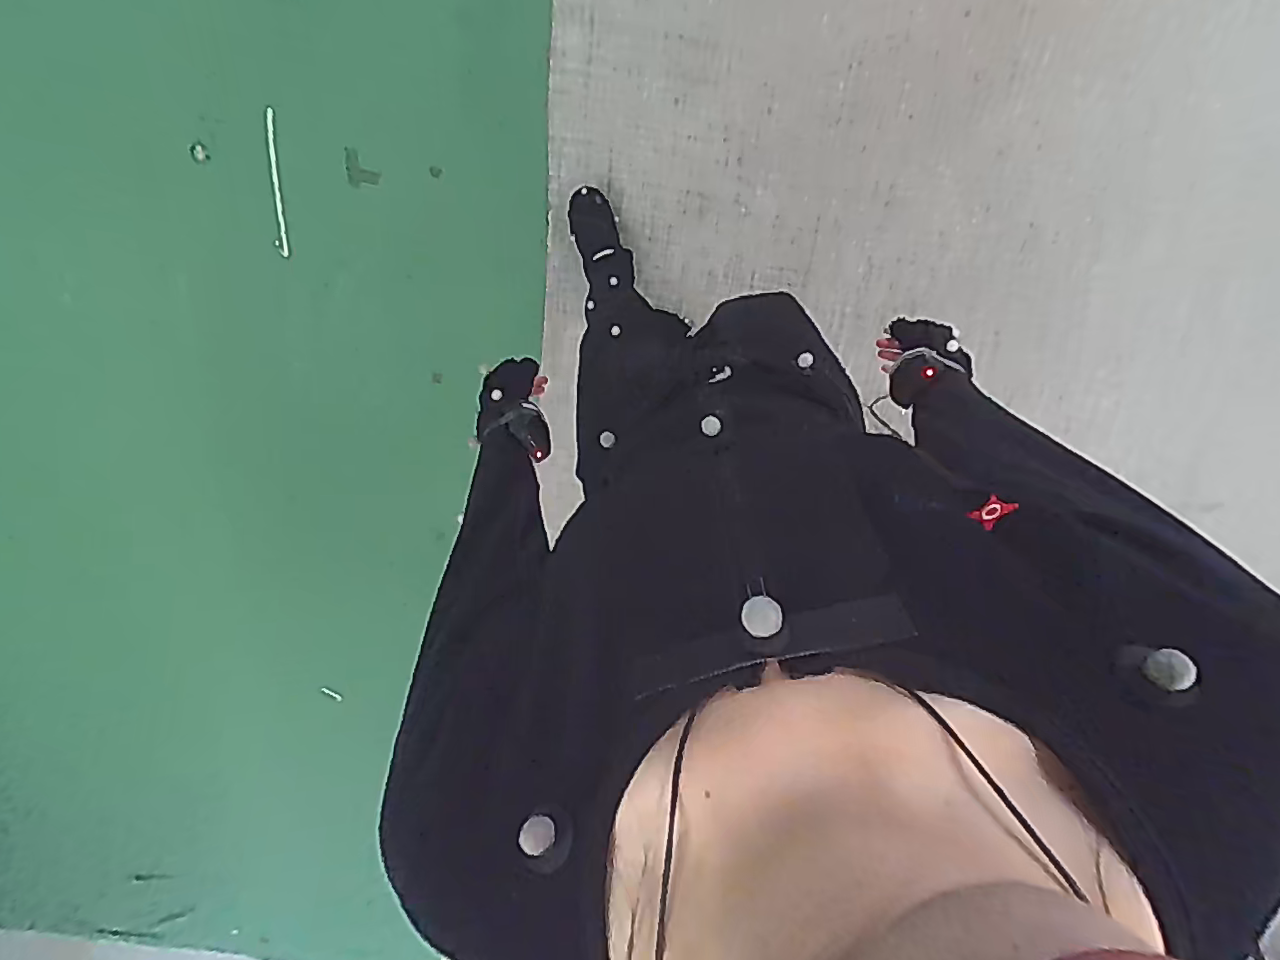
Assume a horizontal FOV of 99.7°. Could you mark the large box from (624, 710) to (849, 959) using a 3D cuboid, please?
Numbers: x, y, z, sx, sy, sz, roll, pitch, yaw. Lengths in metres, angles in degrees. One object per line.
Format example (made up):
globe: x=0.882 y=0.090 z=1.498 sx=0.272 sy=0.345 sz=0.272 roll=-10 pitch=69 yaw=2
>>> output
large box: x=0.153 y=0.722 z=1.047 sx=0.320 sy=0.320 sz=0.408 roll=10 pitch=113 yaw=-1
